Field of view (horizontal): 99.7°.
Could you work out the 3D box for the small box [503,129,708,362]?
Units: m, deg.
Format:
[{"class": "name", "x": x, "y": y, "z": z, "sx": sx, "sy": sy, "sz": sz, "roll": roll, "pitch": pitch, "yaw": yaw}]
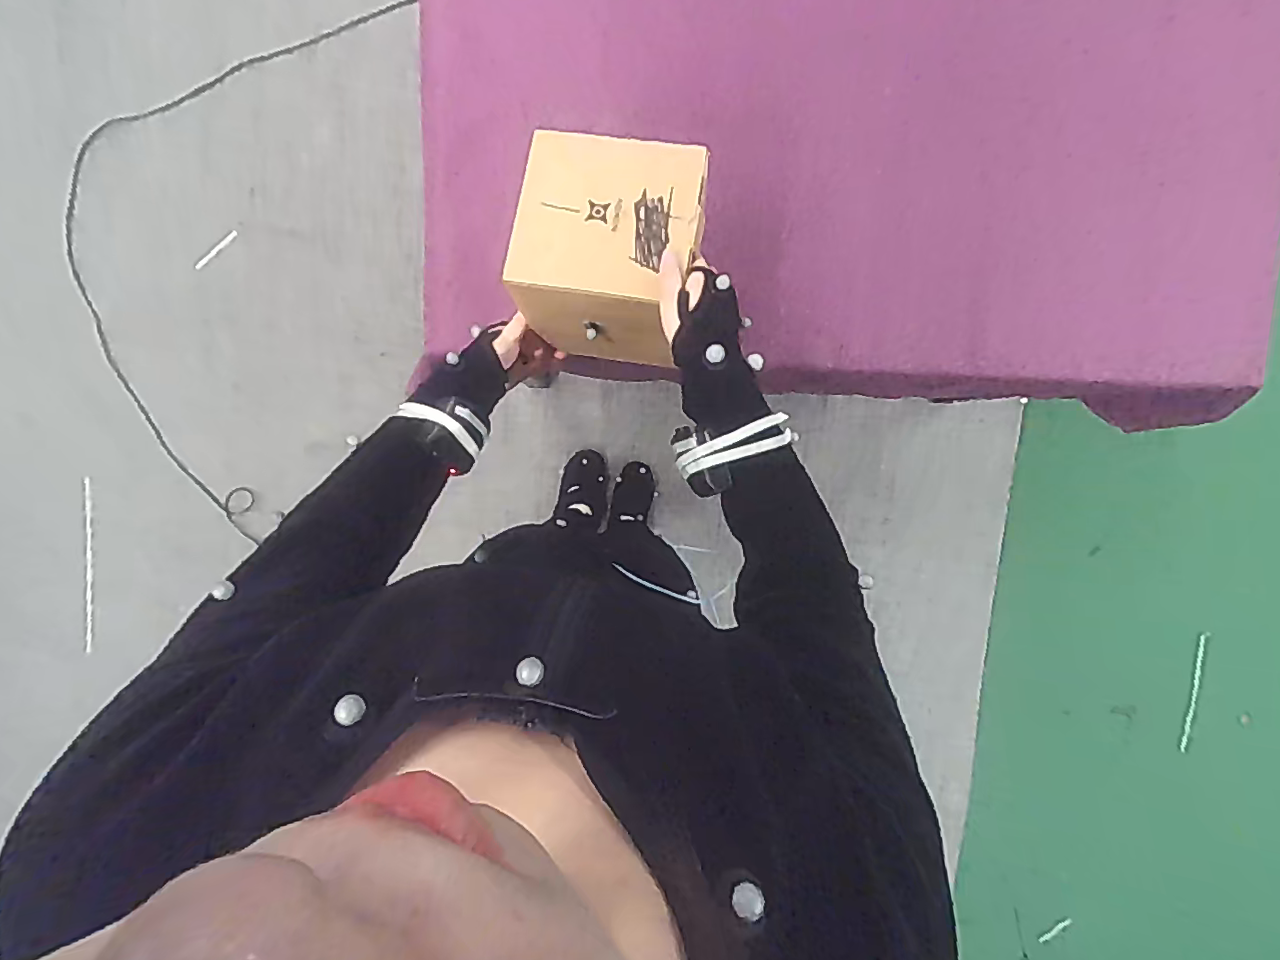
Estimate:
[{"class": "small box", "x": -0.029, "y": -0.243, "z": 0.599, "sx": 0.179, "sy": 0.176, "sz": 0.168, "roll": 9, "pitch": 81, "yaw": 4}]
